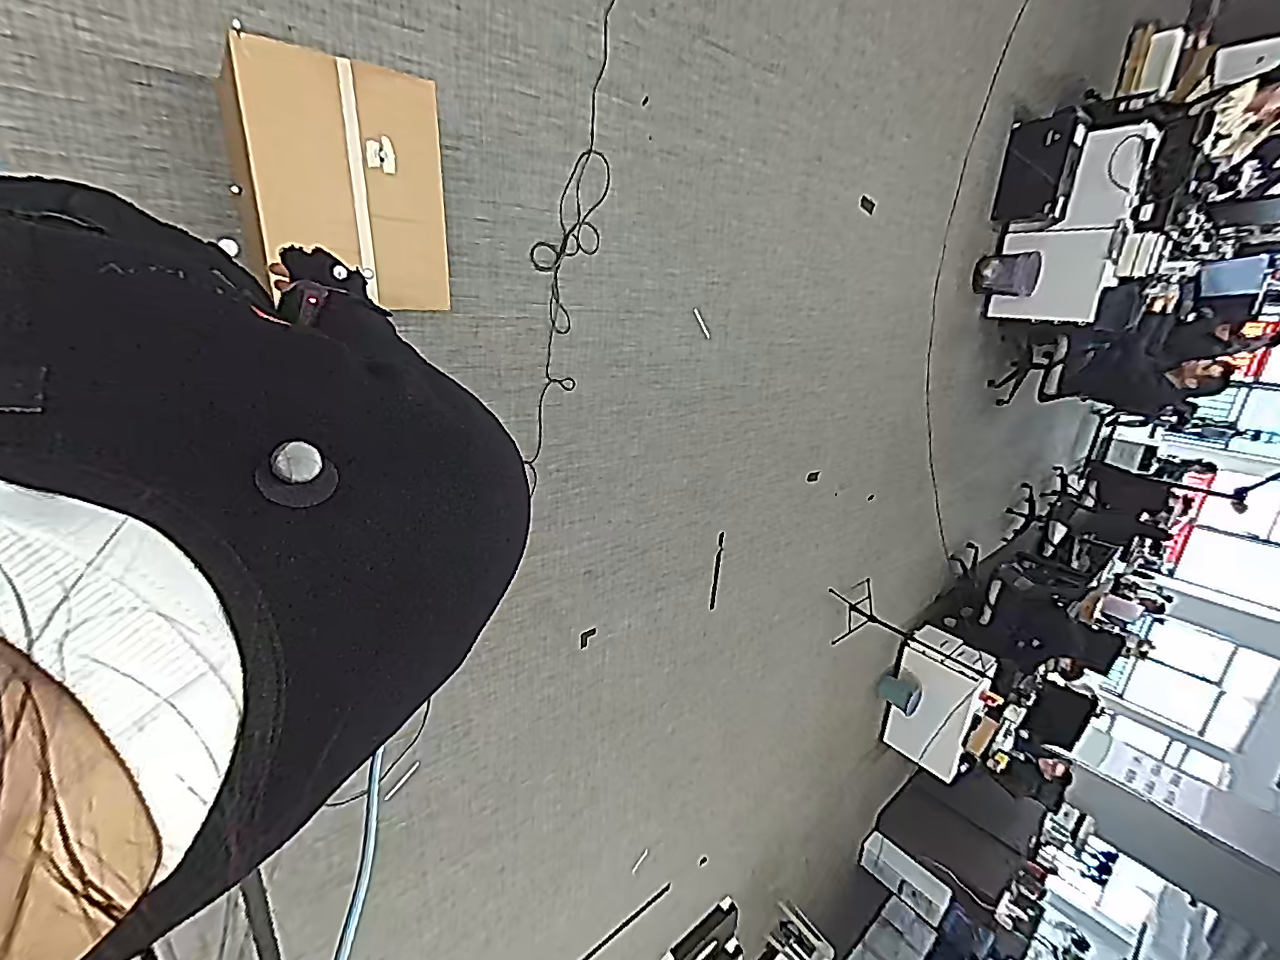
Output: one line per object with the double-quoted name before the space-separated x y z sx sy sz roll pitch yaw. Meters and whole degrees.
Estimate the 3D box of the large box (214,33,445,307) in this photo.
"large box" -0.617 -0.563 1.088 0.320 0.320 0.408 -14 114 -39
